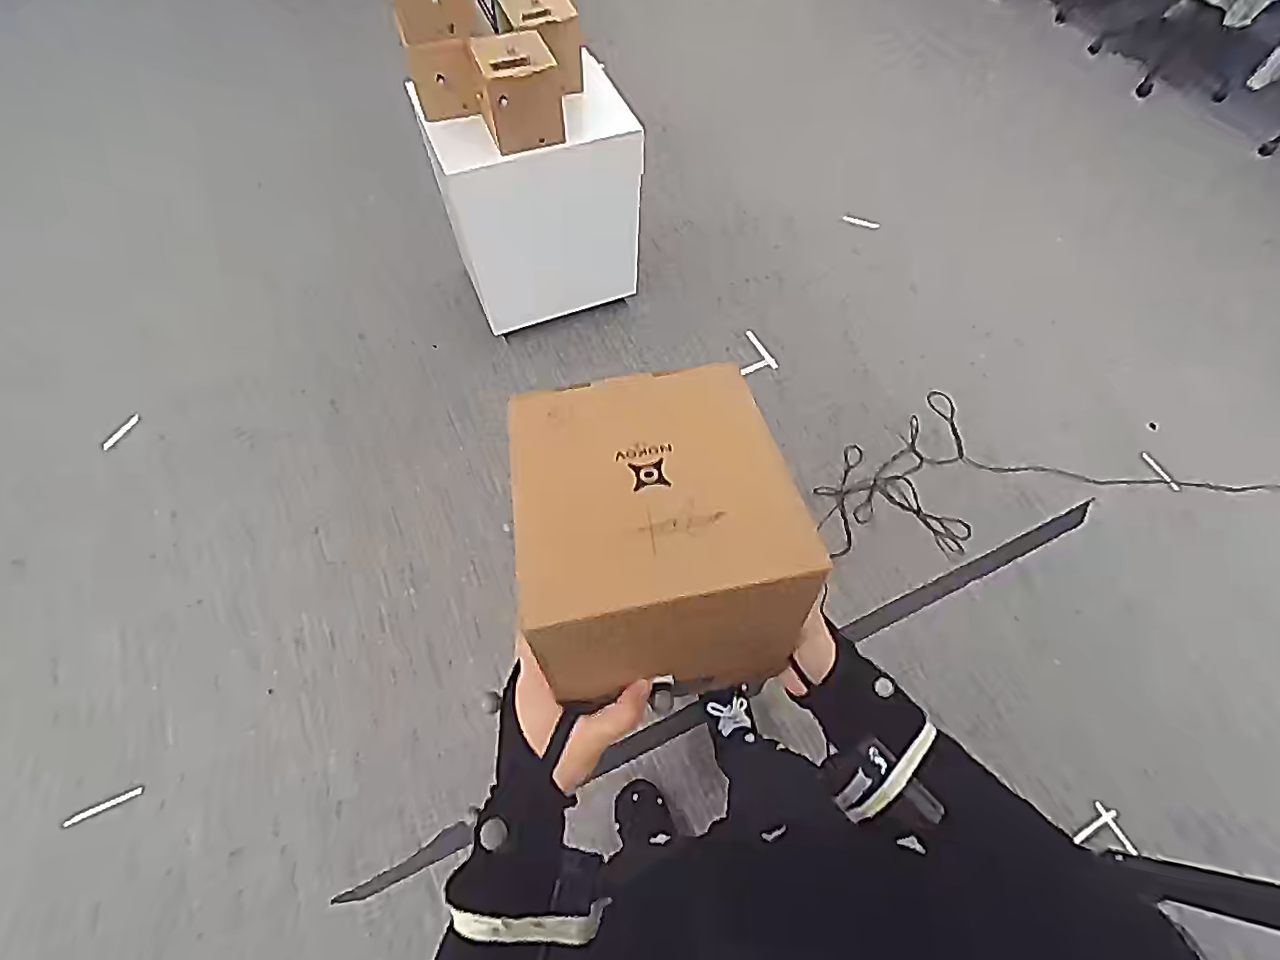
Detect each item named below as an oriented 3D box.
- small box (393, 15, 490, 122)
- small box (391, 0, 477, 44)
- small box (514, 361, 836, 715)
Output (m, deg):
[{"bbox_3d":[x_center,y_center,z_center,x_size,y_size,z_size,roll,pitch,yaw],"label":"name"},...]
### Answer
[{"bbox_3d":[-0.478,-1.008,1.322,0.168,0.176,0.179,-18,66,-11],"label":"small box"},{"bbox_3d":[-0.468,-1.089,1.180,0.168,0.176,0.179,-19,67,-12],"label":"small box"},{"bbox_3d":[0.011,0.043,0.390,0.168,0.176,0.179,-11,52,-5],"label":"small box"}]
